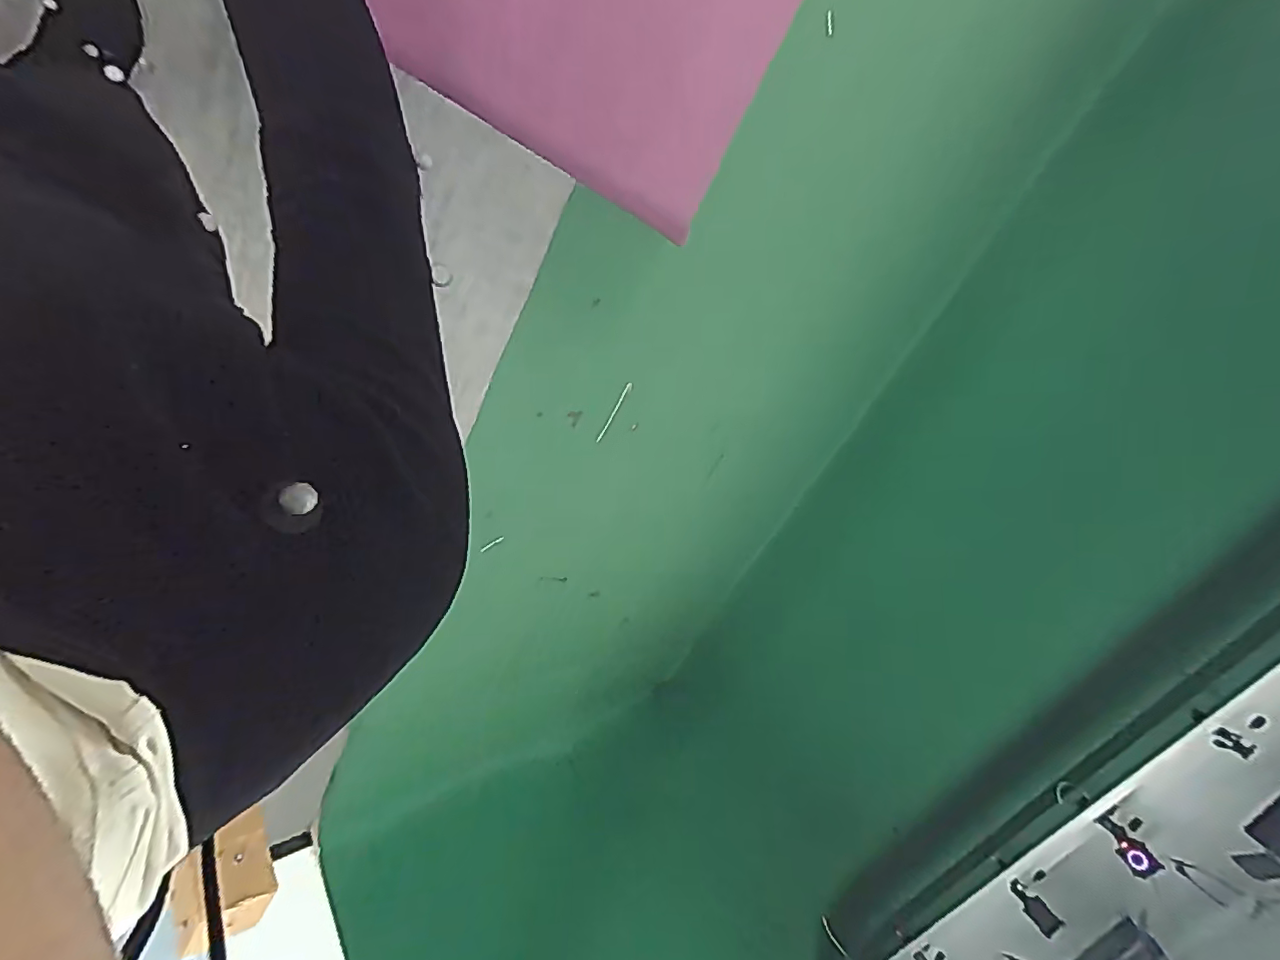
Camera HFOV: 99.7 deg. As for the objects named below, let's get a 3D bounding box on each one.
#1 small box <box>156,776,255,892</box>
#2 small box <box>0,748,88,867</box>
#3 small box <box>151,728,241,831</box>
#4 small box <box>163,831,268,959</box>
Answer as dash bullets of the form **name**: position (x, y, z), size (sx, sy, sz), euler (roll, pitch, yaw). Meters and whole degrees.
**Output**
- **small box**: position (-1.179, 0.948, 1.463), size (0.168, 0.176, 0.179), euler (9, 120, -53)
- **small box**: position (-1.434, 0.764, 1.273), size (0.168, 0.176, 0.179), euler (4, 125, -50)
- **small box**: position (-1.278, 0.850, 1.551), size (0.168, 0.176, 0.179), euler (7, 121, -51)
- **small box**: position (-1.084, 1.044, 1.374), size (0.168, 0.176, 0.179), euler (11, 118, -53)
